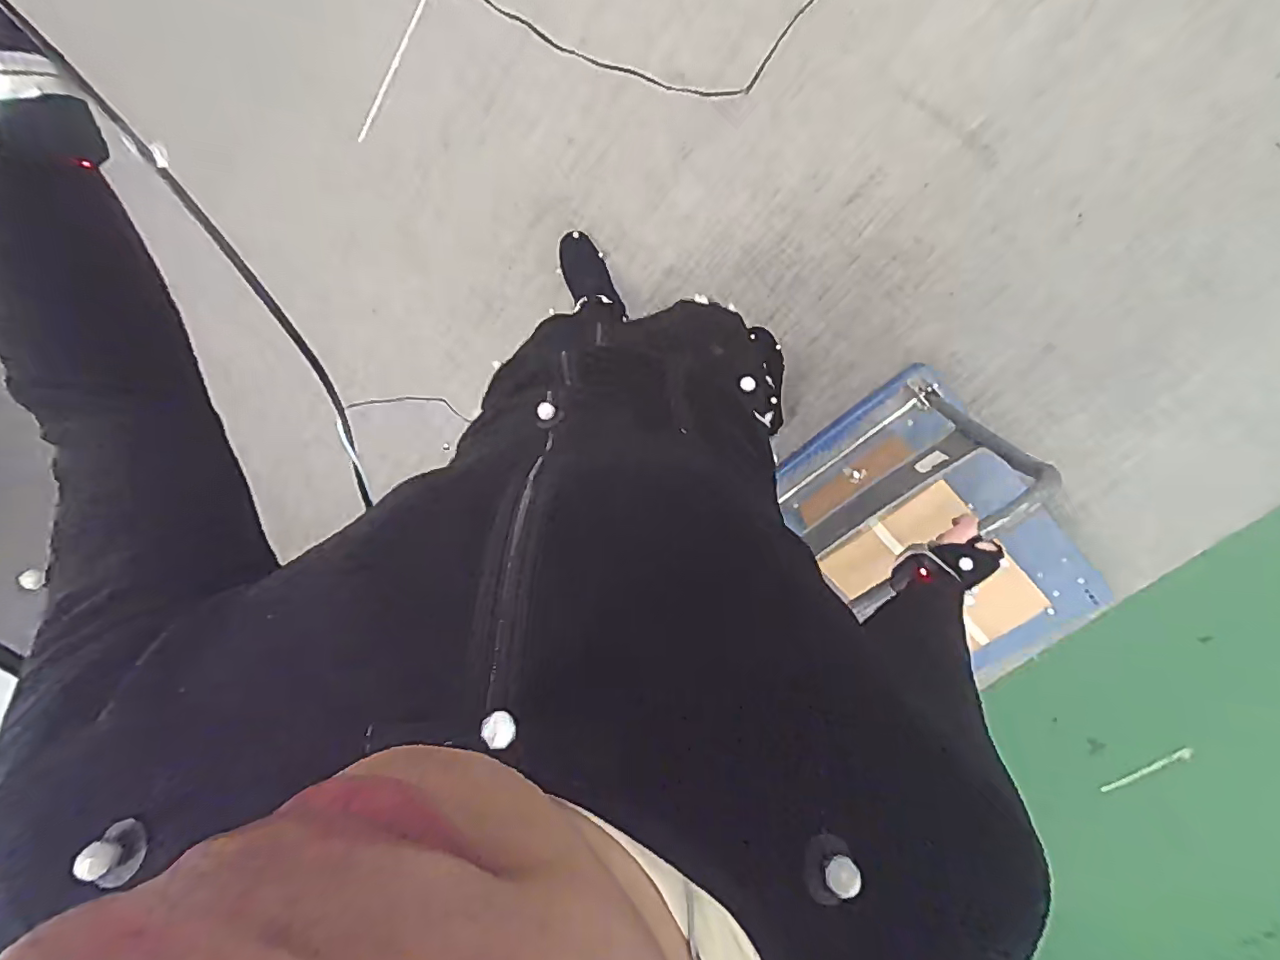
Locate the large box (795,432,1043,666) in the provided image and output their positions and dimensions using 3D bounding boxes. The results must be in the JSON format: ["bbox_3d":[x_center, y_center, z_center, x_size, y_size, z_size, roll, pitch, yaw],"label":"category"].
[{"bbox_3d":[0.644,0.155,1.318,0.408,0.320,0.320,44,112,-12],"label":"large box"}]
